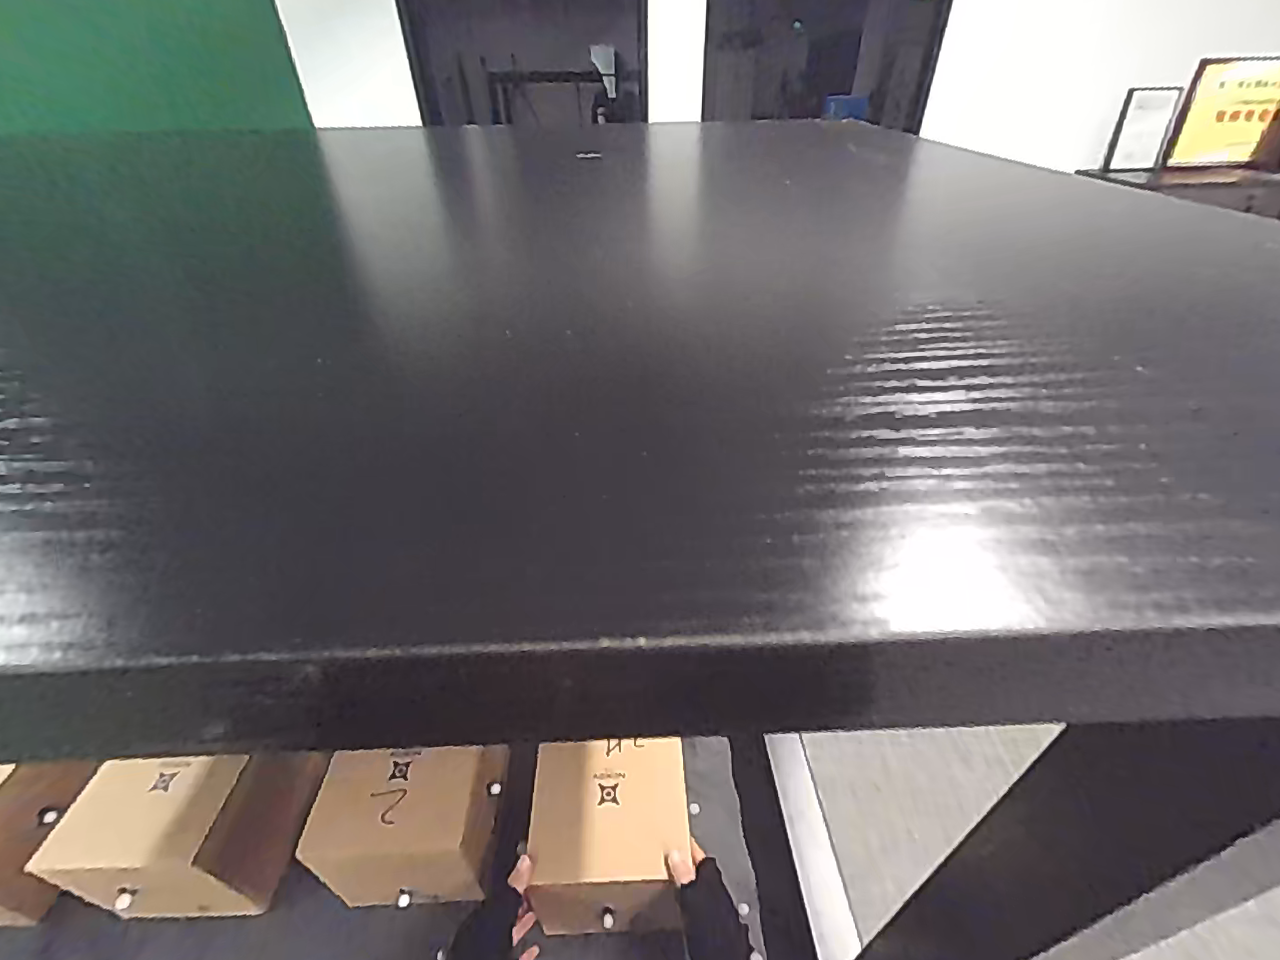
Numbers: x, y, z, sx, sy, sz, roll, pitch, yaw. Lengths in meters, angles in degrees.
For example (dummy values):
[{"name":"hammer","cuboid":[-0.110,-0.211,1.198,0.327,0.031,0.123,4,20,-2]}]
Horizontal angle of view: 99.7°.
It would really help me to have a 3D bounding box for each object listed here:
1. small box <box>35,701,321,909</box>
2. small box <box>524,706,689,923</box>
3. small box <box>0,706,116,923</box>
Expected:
[{"name":"small box","cuboid":[-0.523,0.392,0.652,0.168,0.176,0.179,-1,37,-1]},{"name":"small box","cuboid":[-0.031,0.394,0.638,0.168,0.176,0.179,-2,37,-1]},{"name":"small box","cuboid":[-0.776,0.396,0.646,0.168,0.176,0.179,-1,38,0]}]
